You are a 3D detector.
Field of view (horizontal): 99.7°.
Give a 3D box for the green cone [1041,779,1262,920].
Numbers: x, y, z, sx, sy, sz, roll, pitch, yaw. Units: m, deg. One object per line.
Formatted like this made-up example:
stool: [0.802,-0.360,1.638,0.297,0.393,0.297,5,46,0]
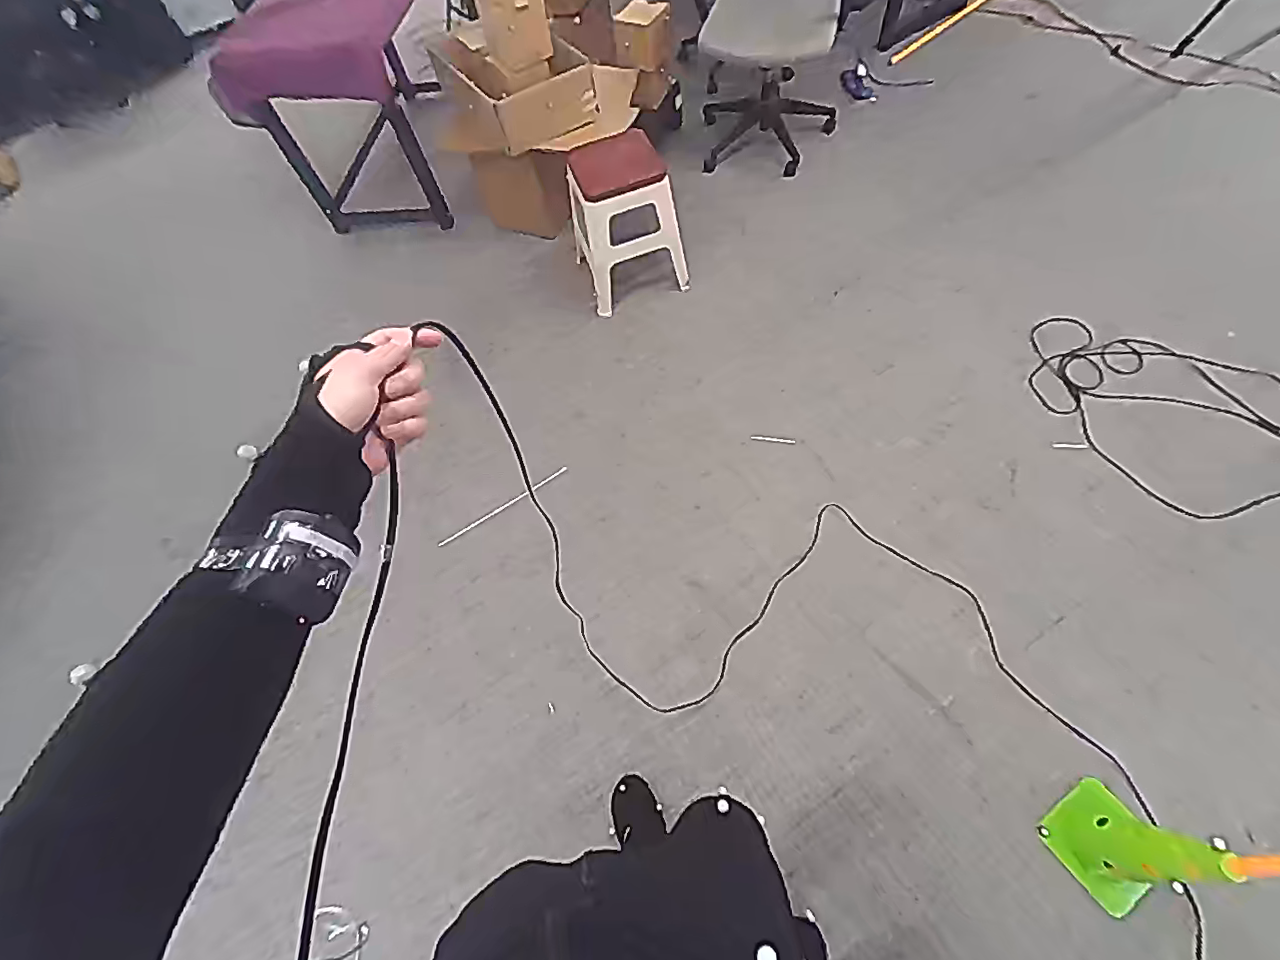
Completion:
green cone: [1.003,0.719,1.031,0.202,0.368,0.200,-34,63,-12]
